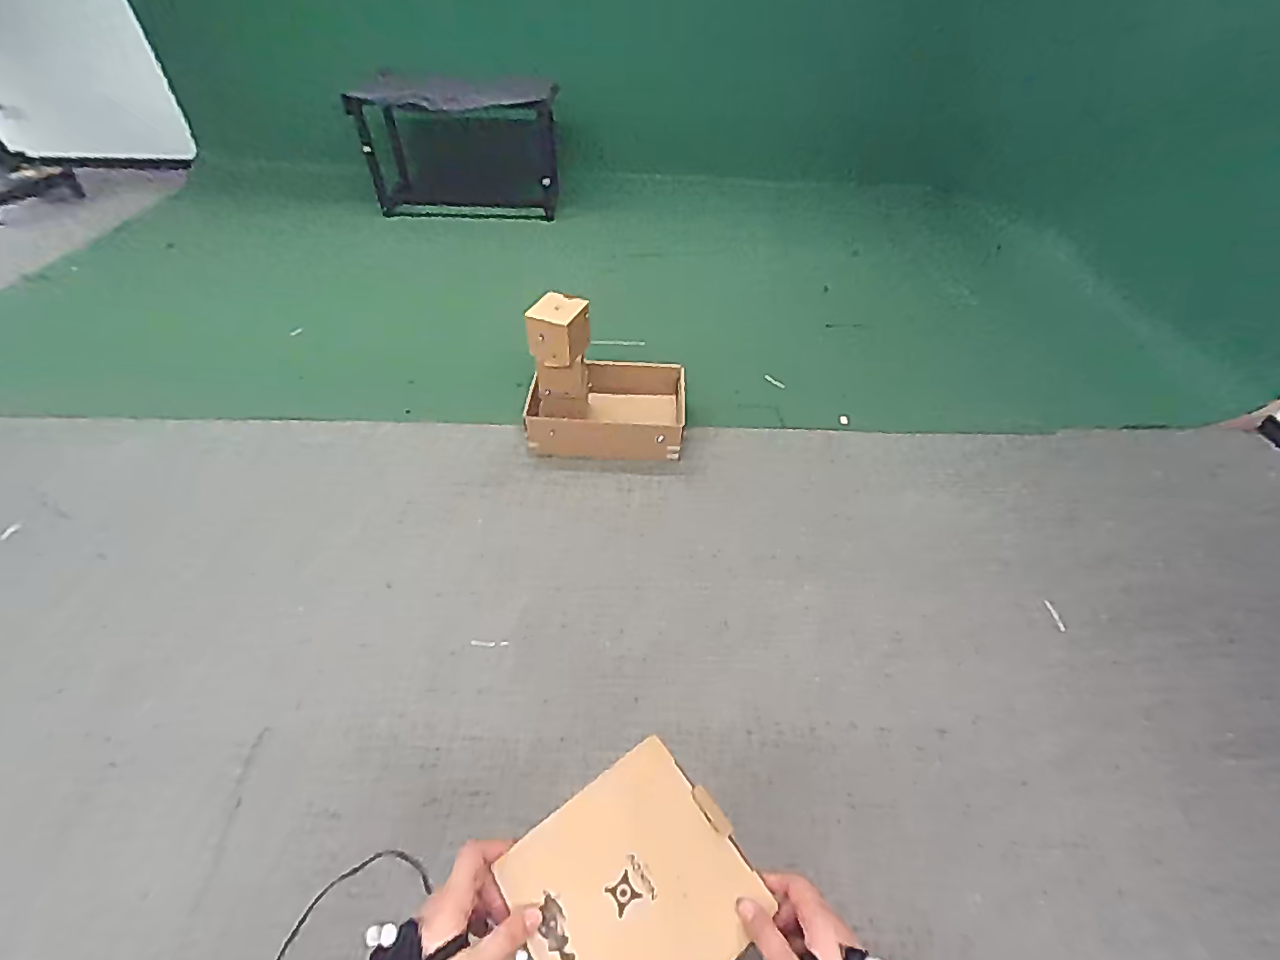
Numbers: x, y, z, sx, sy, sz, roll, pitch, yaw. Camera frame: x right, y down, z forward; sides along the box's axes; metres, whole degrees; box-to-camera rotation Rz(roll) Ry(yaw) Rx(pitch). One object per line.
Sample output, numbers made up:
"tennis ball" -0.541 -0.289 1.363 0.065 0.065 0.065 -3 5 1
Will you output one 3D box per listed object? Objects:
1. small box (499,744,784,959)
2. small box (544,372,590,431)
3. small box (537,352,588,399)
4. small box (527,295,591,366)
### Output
"small box" -0.003 0.385 0.494 0.179 0.176 0.168 -29 56 -23
"small box" -0.290 -0.321 2.191 0.168 0.176 0.179 1 46 -2
"small box" -0.291 -0.427 2.065 0.168 0.176 0.179 2 46 -1
"small box" -0.282 -0.534 1.943 0.168 0.176 0.179 18 47 14
